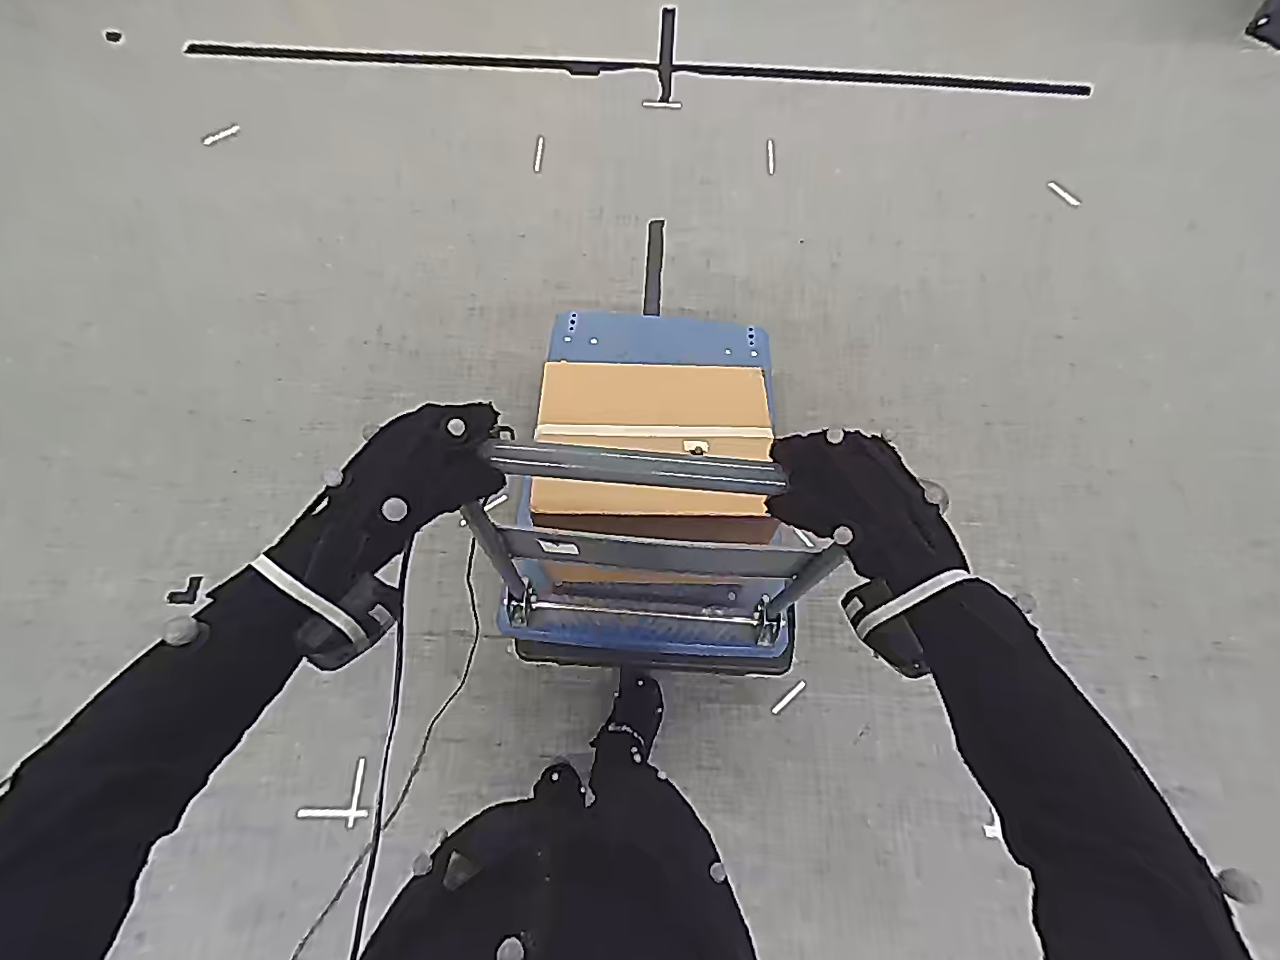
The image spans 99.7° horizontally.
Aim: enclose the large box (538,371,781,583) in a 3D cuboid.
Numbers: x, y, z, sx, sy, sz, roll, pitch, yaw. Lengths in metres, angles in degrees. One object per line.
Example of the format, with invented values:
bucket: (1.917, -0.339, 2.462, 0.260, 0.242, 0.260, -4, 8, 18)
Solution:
large box: (0.020, 0.006, 1.070, 0.408, 0.320, 0.320, 2, 60, -3)
